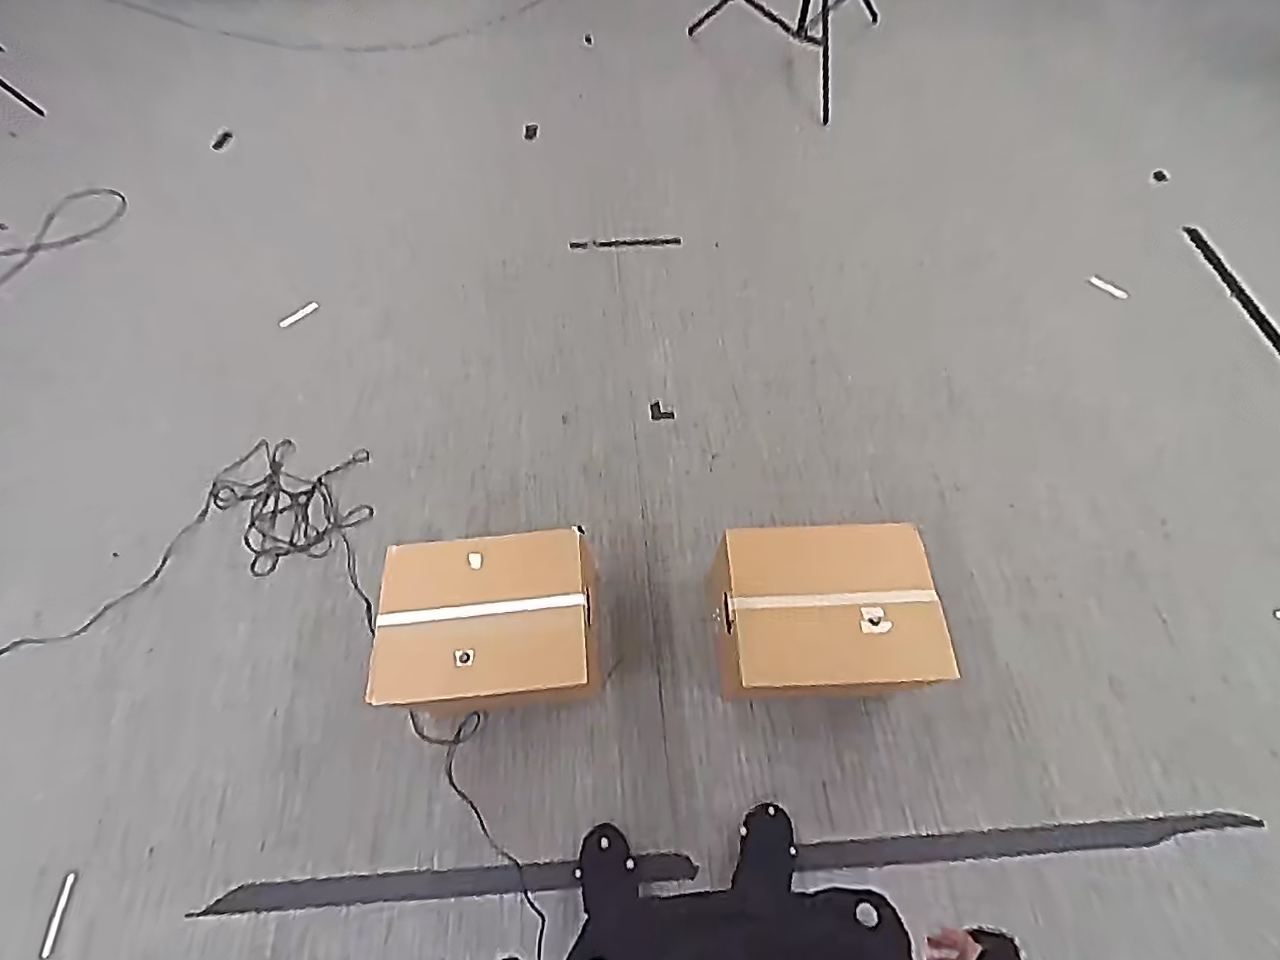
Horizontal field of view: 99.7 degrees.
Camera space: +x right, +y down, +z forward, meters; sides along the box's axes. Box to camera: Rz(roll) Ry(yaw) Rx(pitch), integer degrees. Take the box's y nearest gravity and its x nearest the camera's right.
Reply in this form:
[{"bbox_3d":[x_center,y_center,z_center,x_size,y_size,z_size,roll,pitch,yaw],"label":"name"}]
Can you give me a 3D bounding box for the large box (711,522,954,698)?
[{"bbox_3d":[0.387,0.300,1.208,0.408,0.320,0.320,-2,64,0],"label":"large box"}]
